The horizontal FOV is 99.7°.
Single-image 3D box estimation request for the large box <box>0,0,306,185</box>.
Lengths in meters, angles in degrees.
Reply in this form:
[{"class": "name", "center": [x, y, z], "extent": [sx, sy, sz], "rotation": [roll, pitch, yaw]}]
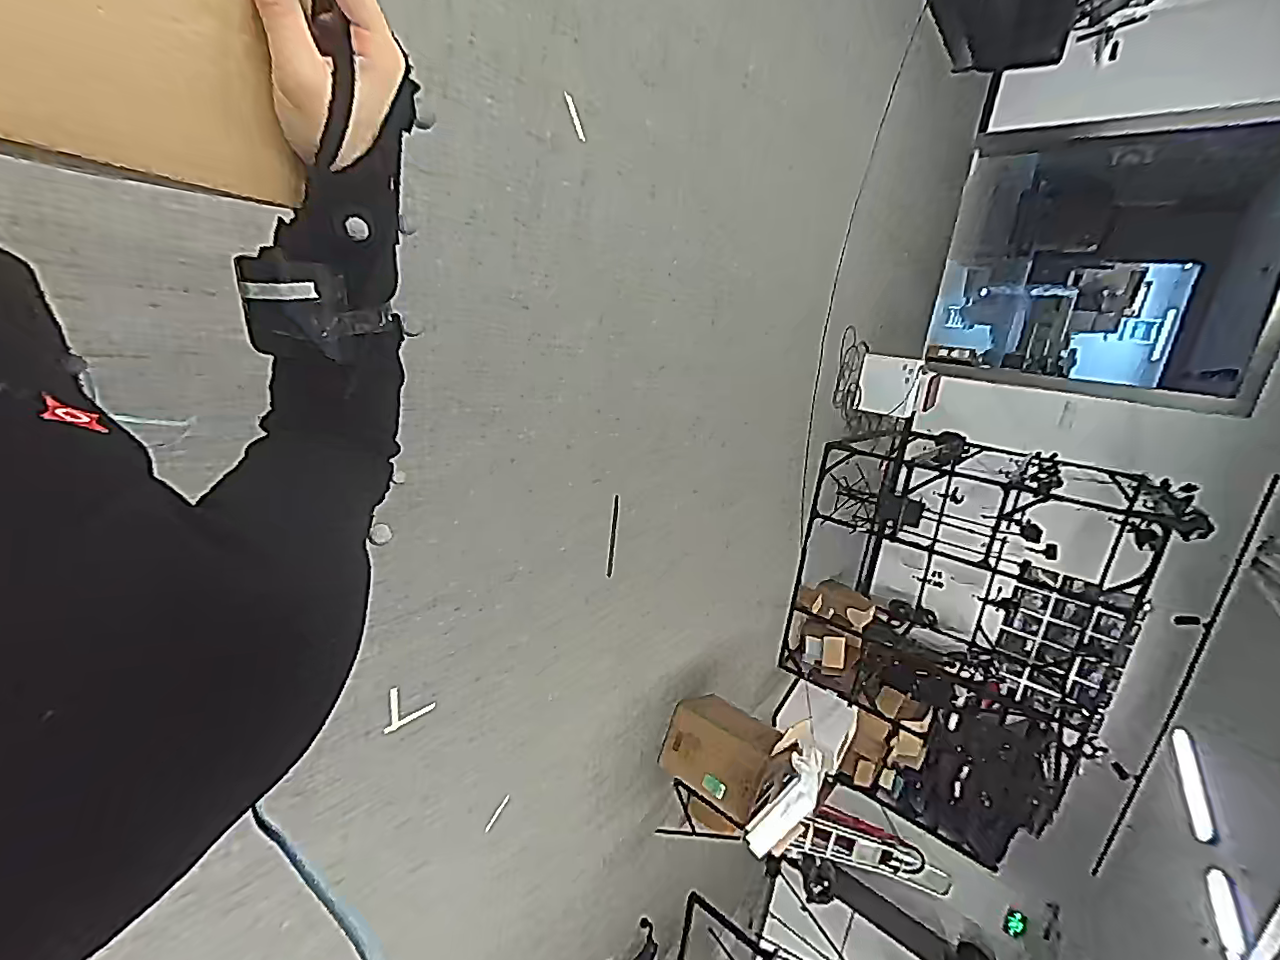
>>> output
[{"class": "large box", "center": [-0.398, -0.326, 0.176], "extent": [0.408, 0.320, 0.320], "rotation": [-17, 124, -56]}]
